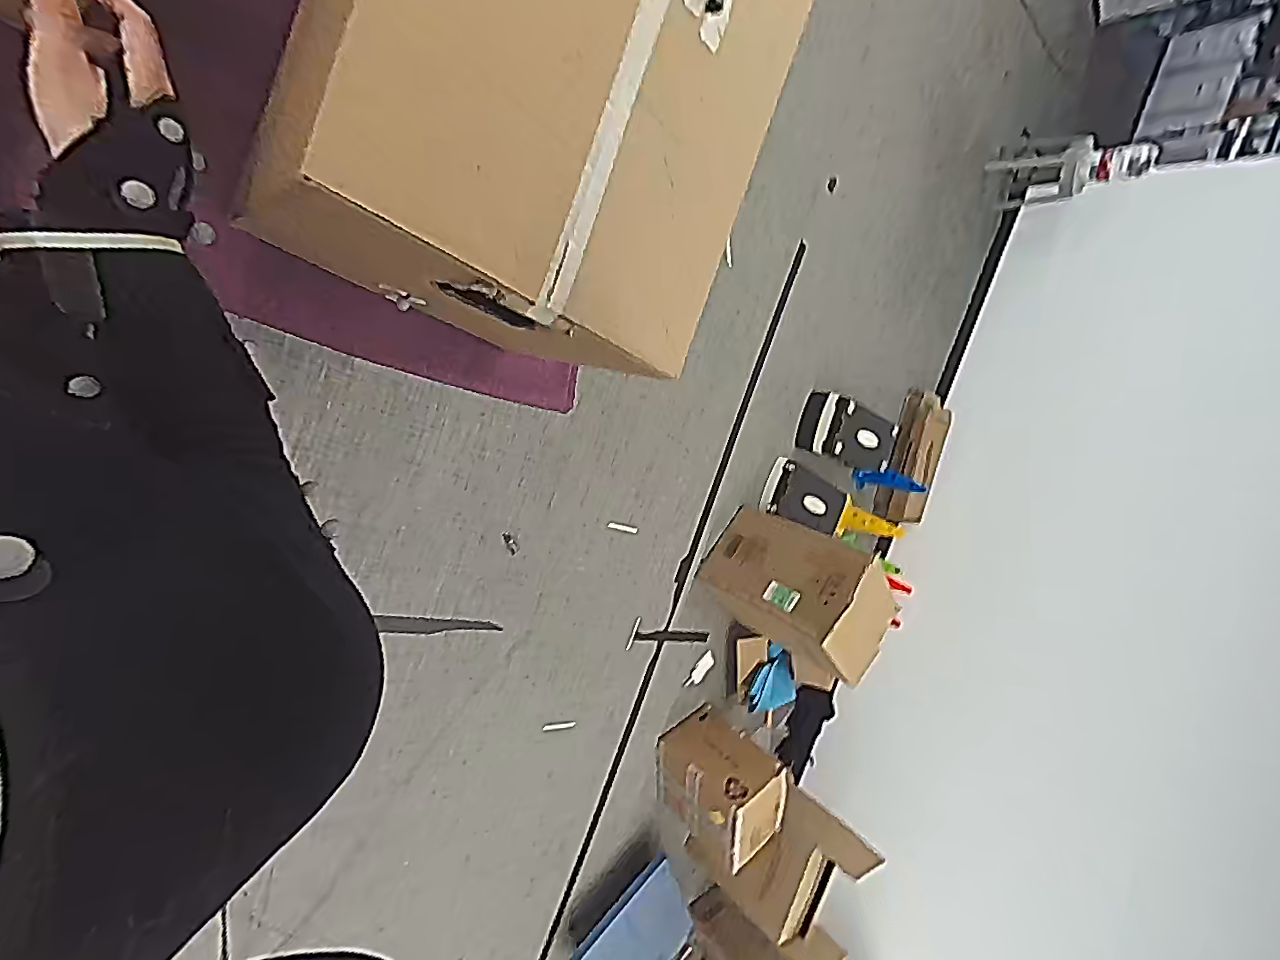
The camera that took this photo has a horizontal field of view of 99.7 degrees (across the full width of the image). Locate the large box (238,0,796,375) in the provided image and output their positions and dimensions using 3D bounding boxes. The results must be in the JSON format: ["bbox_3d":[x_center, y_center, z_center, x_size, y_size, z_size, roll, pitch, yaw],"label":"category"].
[{"bbox_3d":[-0.112,-0.346,0.490,0.320,0.320,0.408,18,92,-46],"label":"large box"}]
